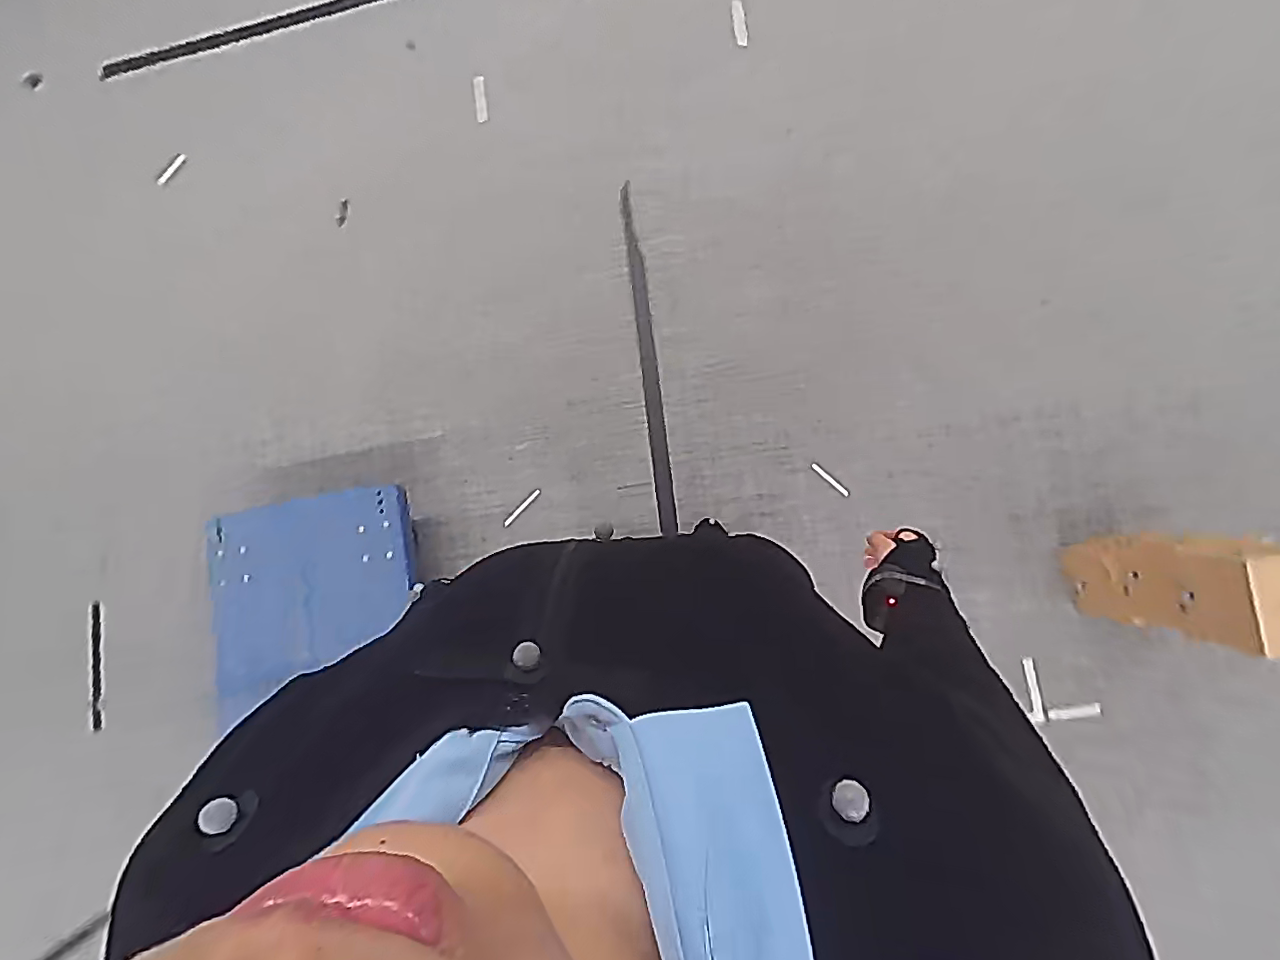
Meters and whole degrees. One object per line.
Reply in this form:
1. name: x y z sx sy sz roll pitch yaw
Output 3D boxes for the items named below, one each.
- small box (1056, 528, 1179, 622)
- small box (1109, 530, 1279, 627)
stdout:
1. small box: 1.146 0.215 1.274 0.179 0.176 0.168 -20 83 5
2. small box: 1.131 0.195 1.113 0.179 0.176 0.168 -8 85 7
